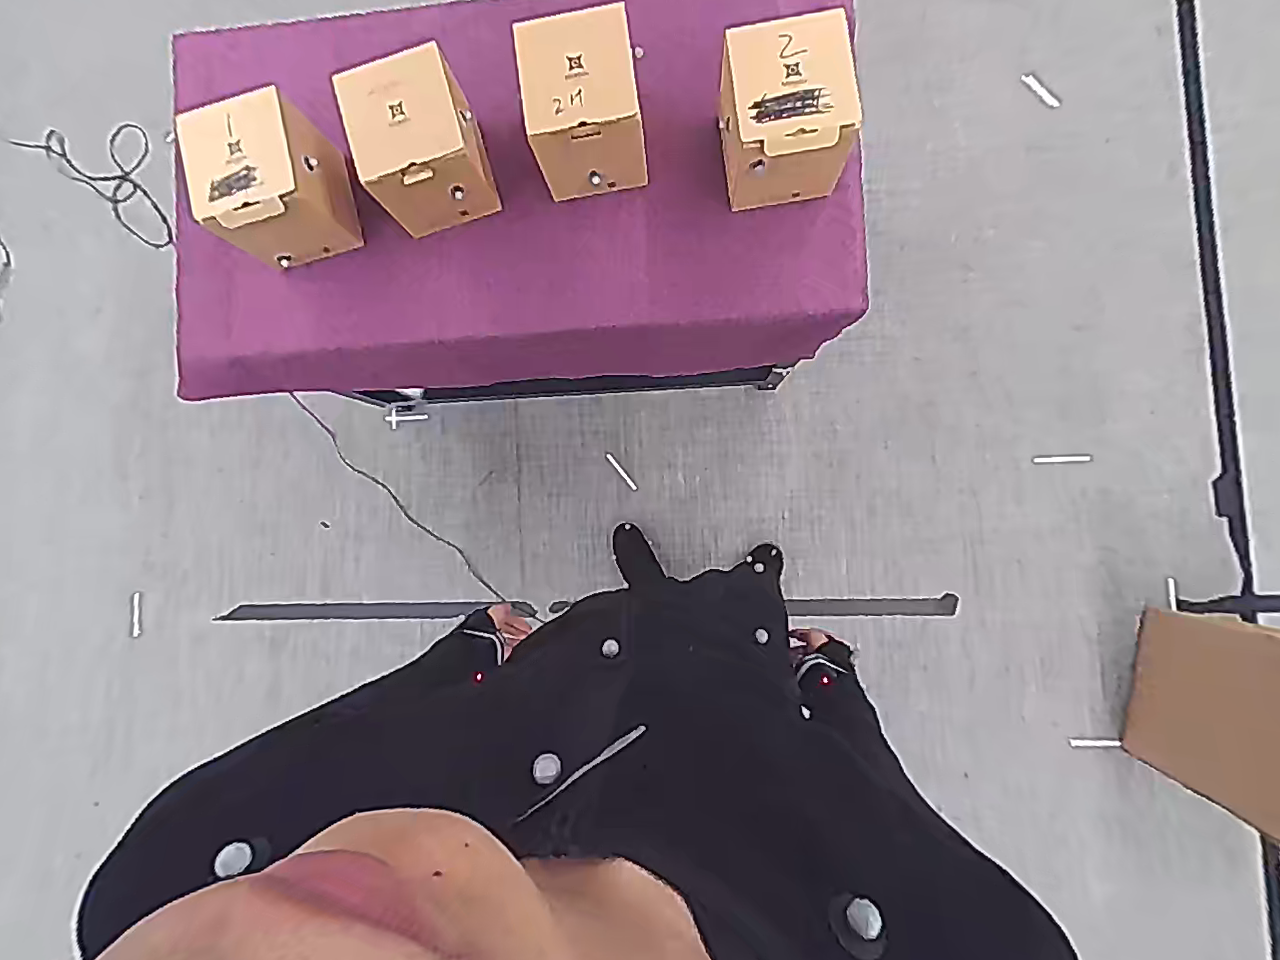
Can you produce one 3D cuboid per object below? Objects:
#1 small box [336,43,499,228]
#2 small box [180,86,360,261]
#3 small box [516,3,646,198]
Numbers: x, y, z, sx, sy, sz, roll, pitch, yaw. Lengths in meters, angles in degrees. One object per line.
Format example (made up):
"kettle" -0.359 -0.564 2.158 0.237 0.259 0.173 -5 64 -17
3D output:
"small box" -0.346 -0.535 0.872 0.168 0.176 0.179 -16 86 3
"small box" -0.591 -0.483 0.886 0.168 0.176 0.179 -15 86 3
"small box" -0.085 -0.584 0.853 0.168 0.176 0.179 -8 87 4
